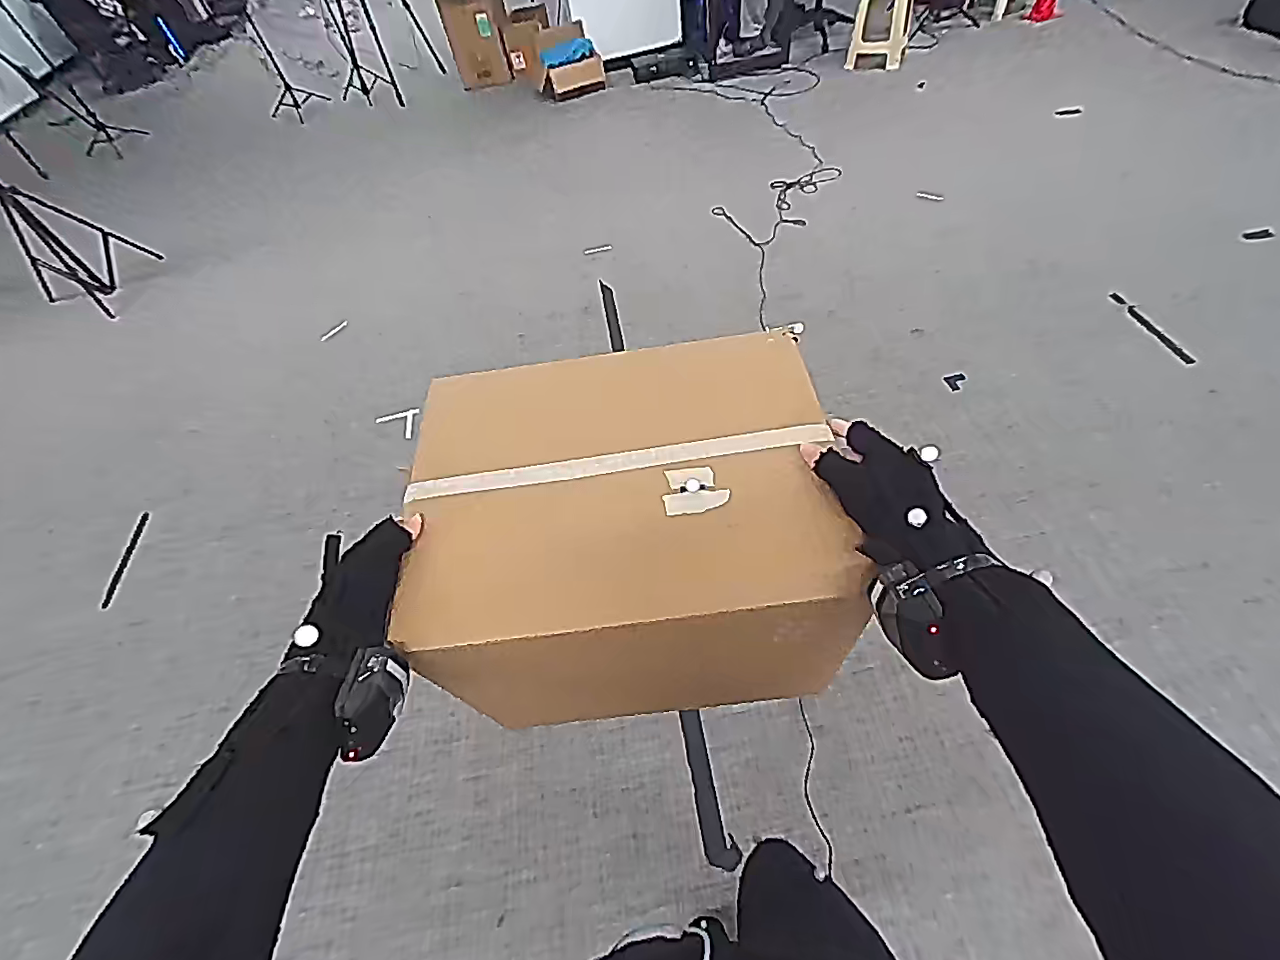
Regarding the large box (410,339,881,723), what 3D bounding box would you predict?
[{"bbox_3d":[0.001,0.075,0.650,0.408,0.320,0.320,-7,55,2],"label":"large box"}]
